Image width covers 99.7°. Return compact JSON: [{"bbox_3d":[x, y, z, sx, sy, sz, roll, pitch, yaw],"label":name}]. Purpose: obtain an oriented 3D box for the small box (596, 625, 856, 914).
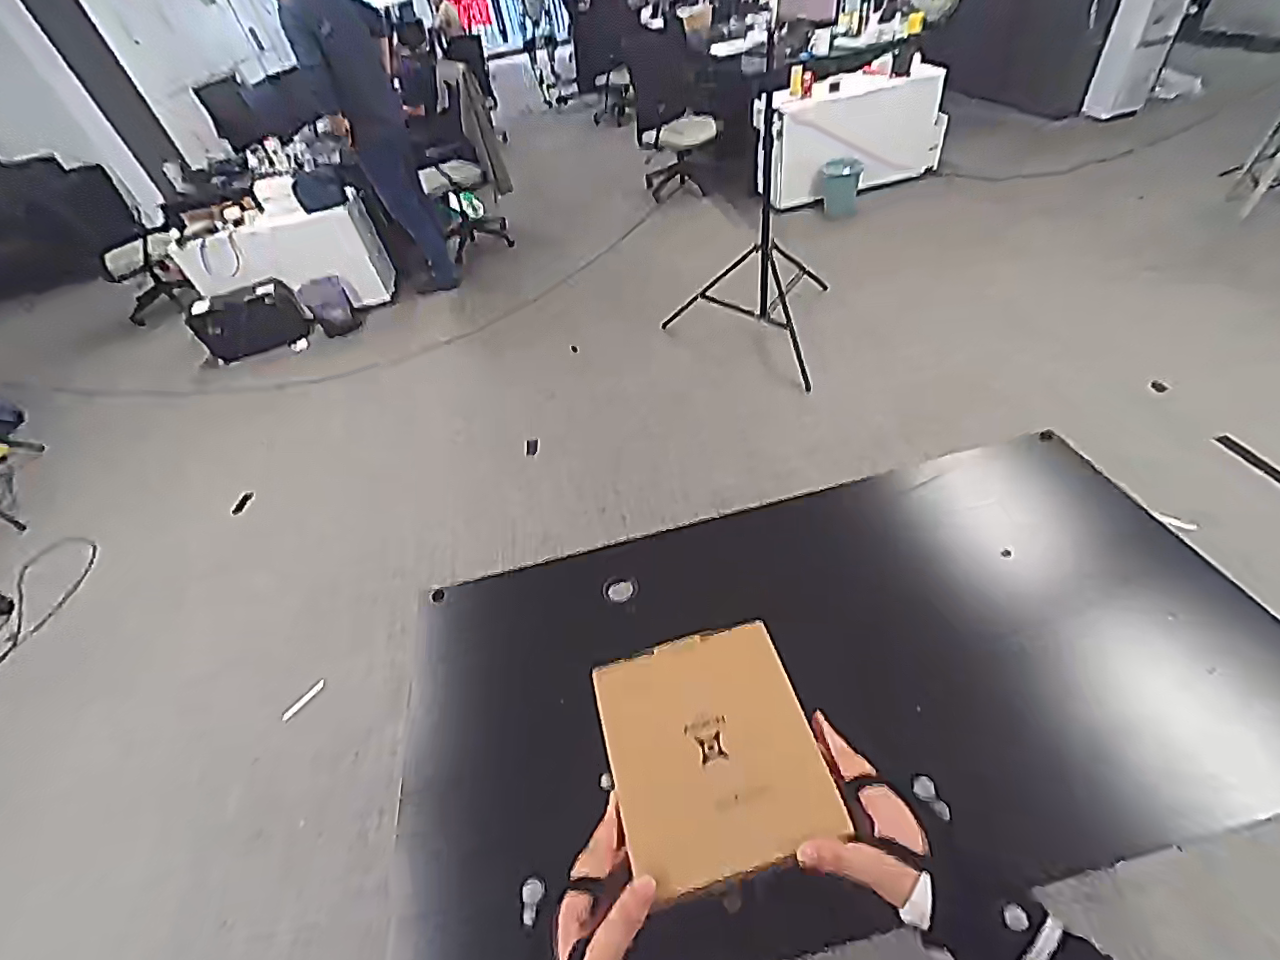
[{"bbox_3d":[0.064,0.265,0.493,0.168,0.176,0.179,-14,50,-5],"label":"small box"}]
